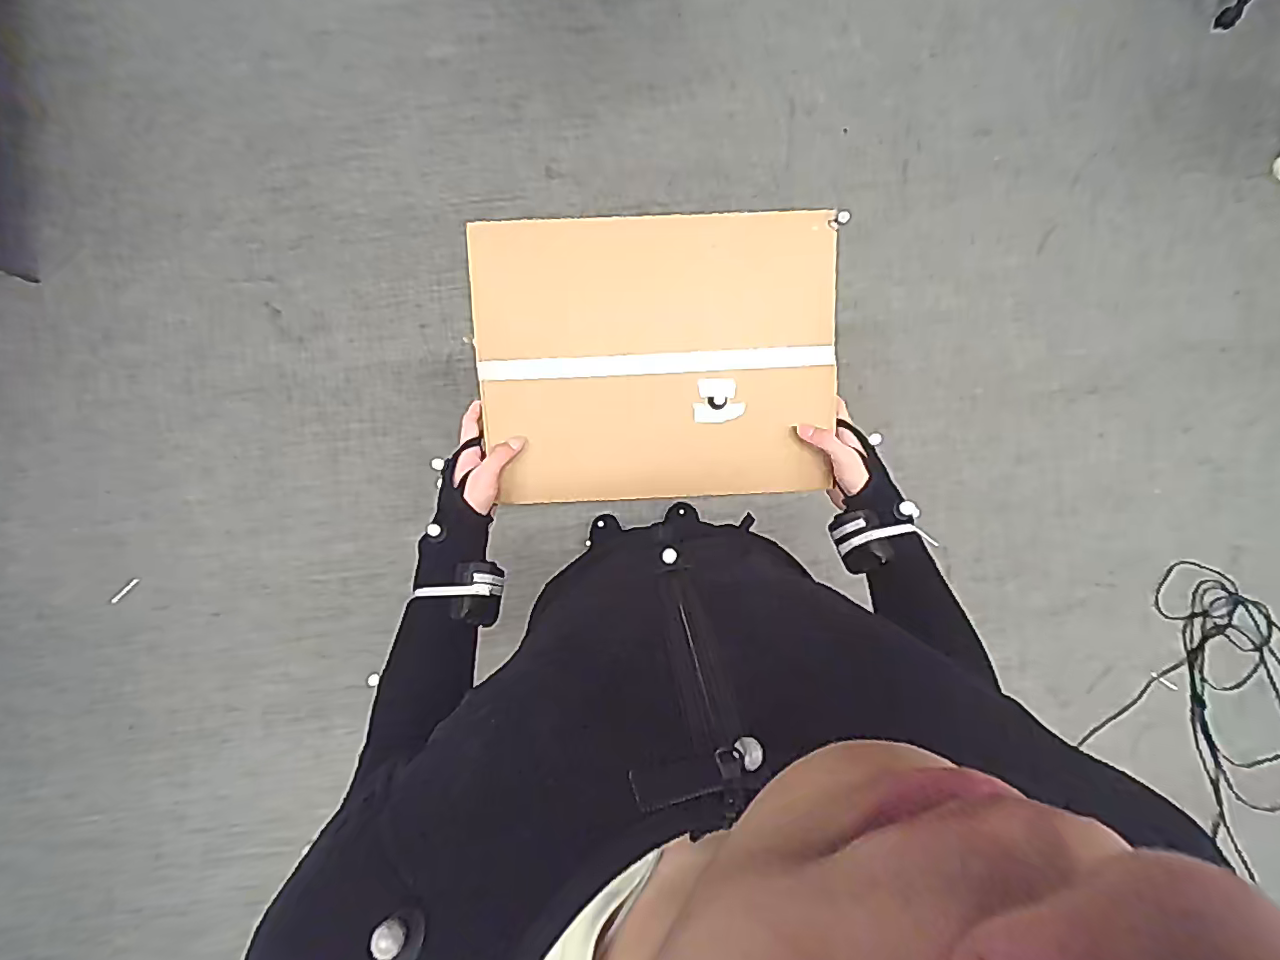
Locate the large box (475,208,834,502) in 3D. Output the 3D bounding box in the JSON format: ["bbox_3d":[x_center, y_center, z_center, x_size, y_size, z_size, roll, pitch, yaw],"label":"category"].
[{"bbox_3d":[0.018,-0.161,0.767,0.408,0.320,0.320,-4,100,-2],"label":"large box"}]
